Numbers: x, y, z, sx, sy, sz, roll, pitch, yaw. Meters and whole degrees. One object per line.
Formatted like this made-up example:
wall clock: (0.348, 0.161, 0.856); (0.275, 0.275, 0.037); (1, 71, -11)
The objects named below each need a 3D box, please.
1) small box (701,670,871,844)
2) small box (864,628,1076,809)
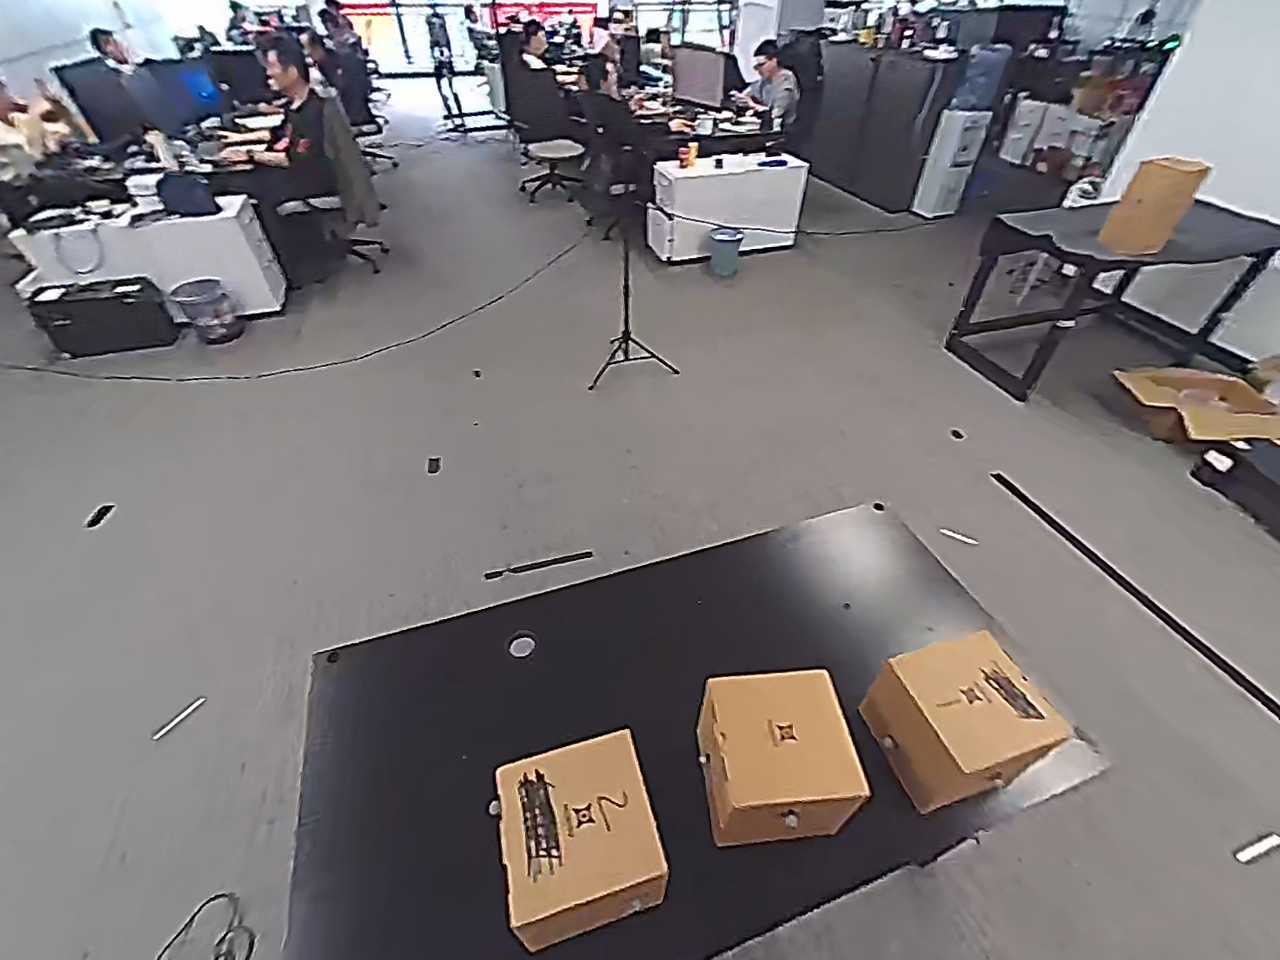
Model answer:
small box: (0.189, 0.389, 0.760); (0.179, 0.176, 0.168); (-4, 43, -3)
small box: (0.465, 0.350, 0.795); (0.179, 0.176, 0.168); (-13, 44, -11)
